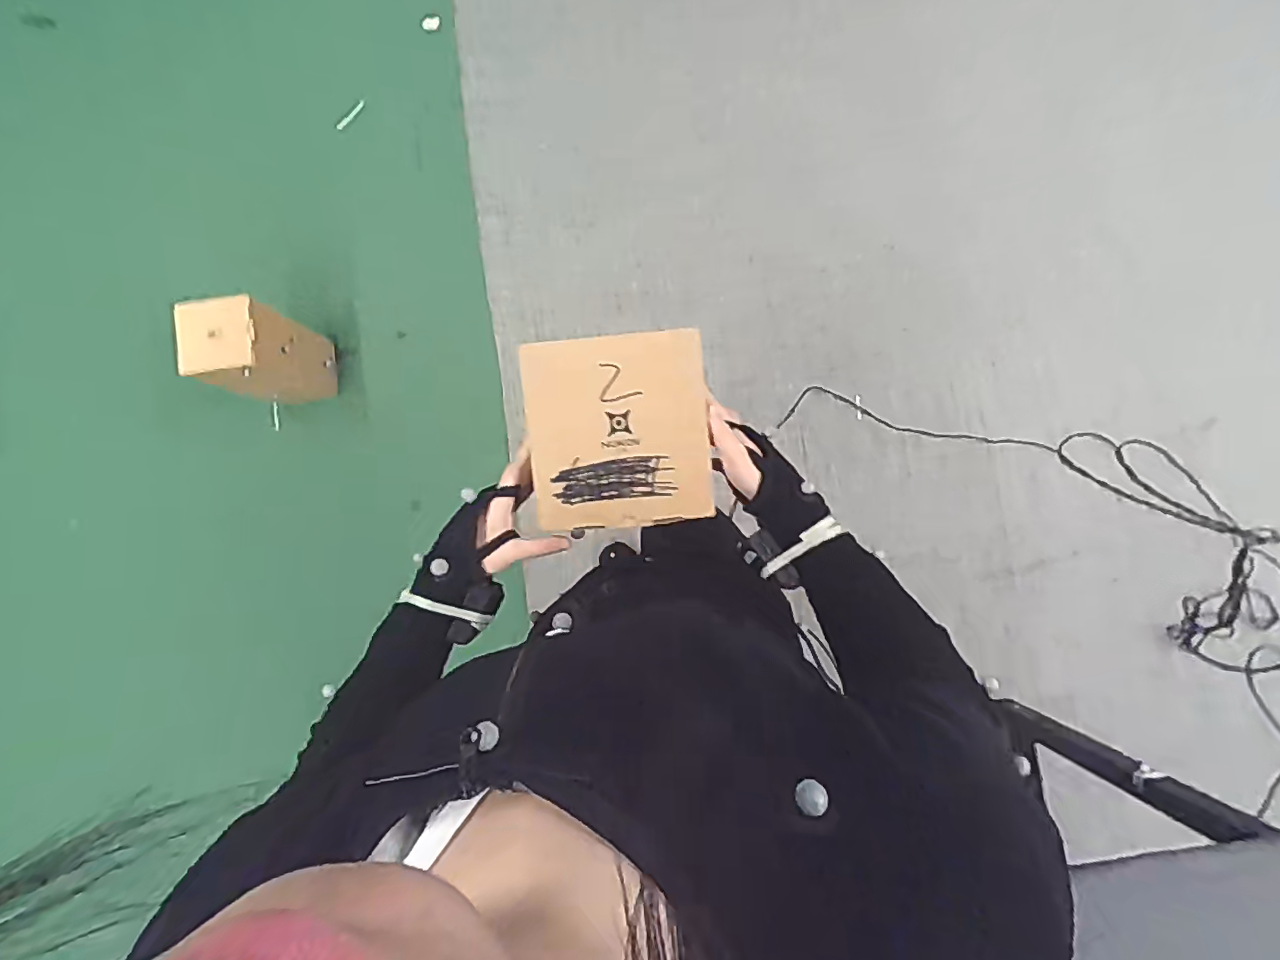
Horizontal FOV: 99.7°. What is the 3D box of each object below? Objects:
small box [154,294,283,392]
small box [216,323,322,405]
[{"bbox_3d":[-0.989,-0.316,1.280,0.179,0.176,0.168,-9,85,-1],"label":"small box"},{"bbox_3d":[-0.987,-0.302,1.441,0.179,0.176,0.168,-8,86,-1],"label":"small box"}]
